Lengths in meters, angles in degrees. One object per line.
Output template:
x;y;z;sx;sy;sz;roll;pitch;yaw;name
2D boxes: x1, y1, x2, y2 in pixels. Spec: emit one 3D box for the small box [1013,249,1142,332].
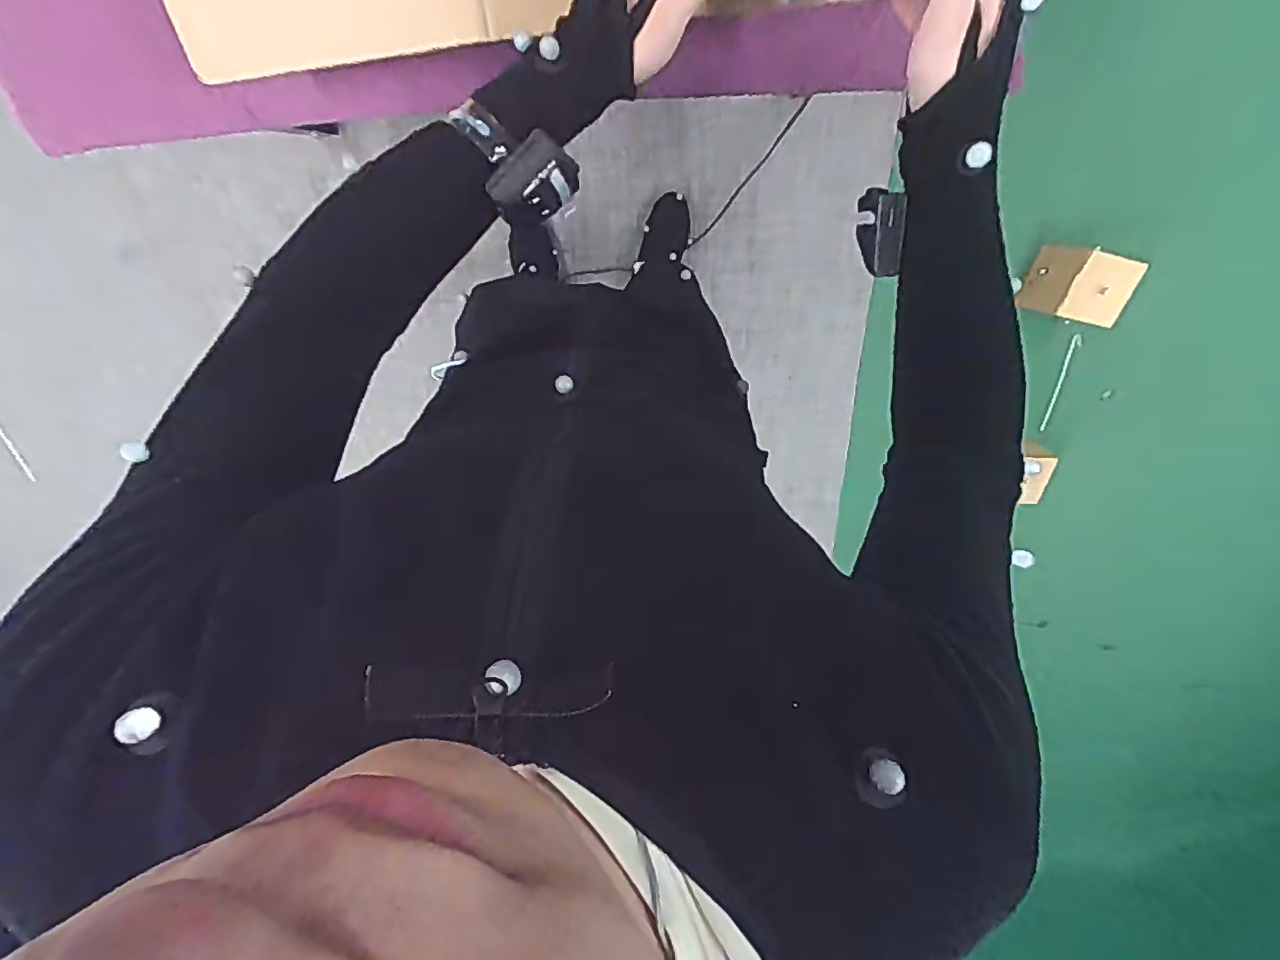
1.182;-0.522;1.475;0.179;0.176;0.168;10;118;-8;small box
